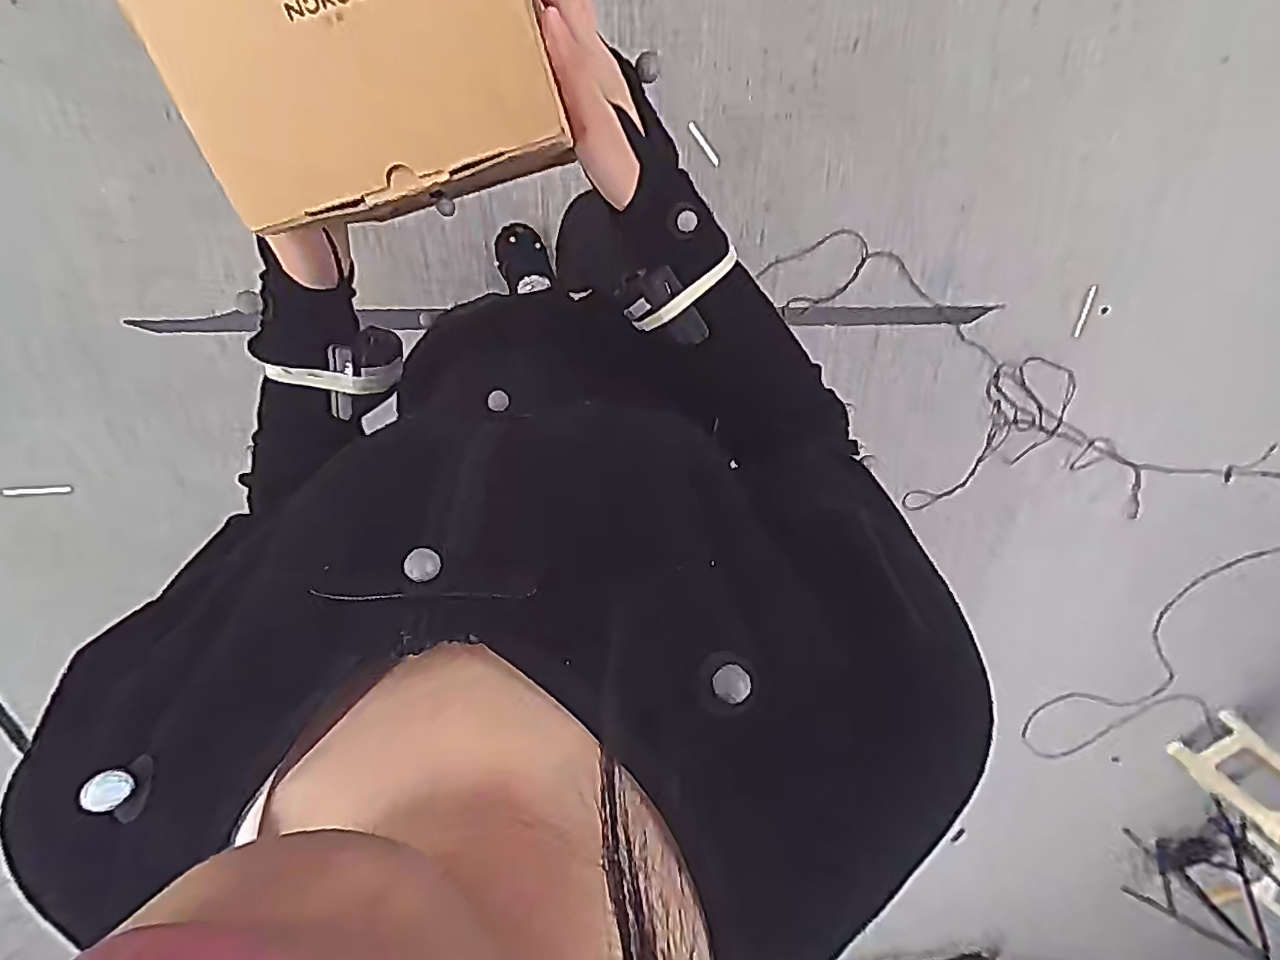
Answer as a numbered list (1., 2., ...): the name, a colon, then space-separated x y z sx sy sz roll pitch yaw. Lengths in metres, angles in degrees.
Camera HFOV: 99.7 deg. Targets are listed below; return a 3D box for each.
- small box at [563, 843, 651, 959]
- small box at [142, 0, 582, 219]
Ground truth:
1. small box: -0.073 0.889 1.128 0.168 0.176 0.179 -4 117 -7
2. small box: -0.134 -0.257 0.292 0.168 0.176 0.179 -15 119 4
